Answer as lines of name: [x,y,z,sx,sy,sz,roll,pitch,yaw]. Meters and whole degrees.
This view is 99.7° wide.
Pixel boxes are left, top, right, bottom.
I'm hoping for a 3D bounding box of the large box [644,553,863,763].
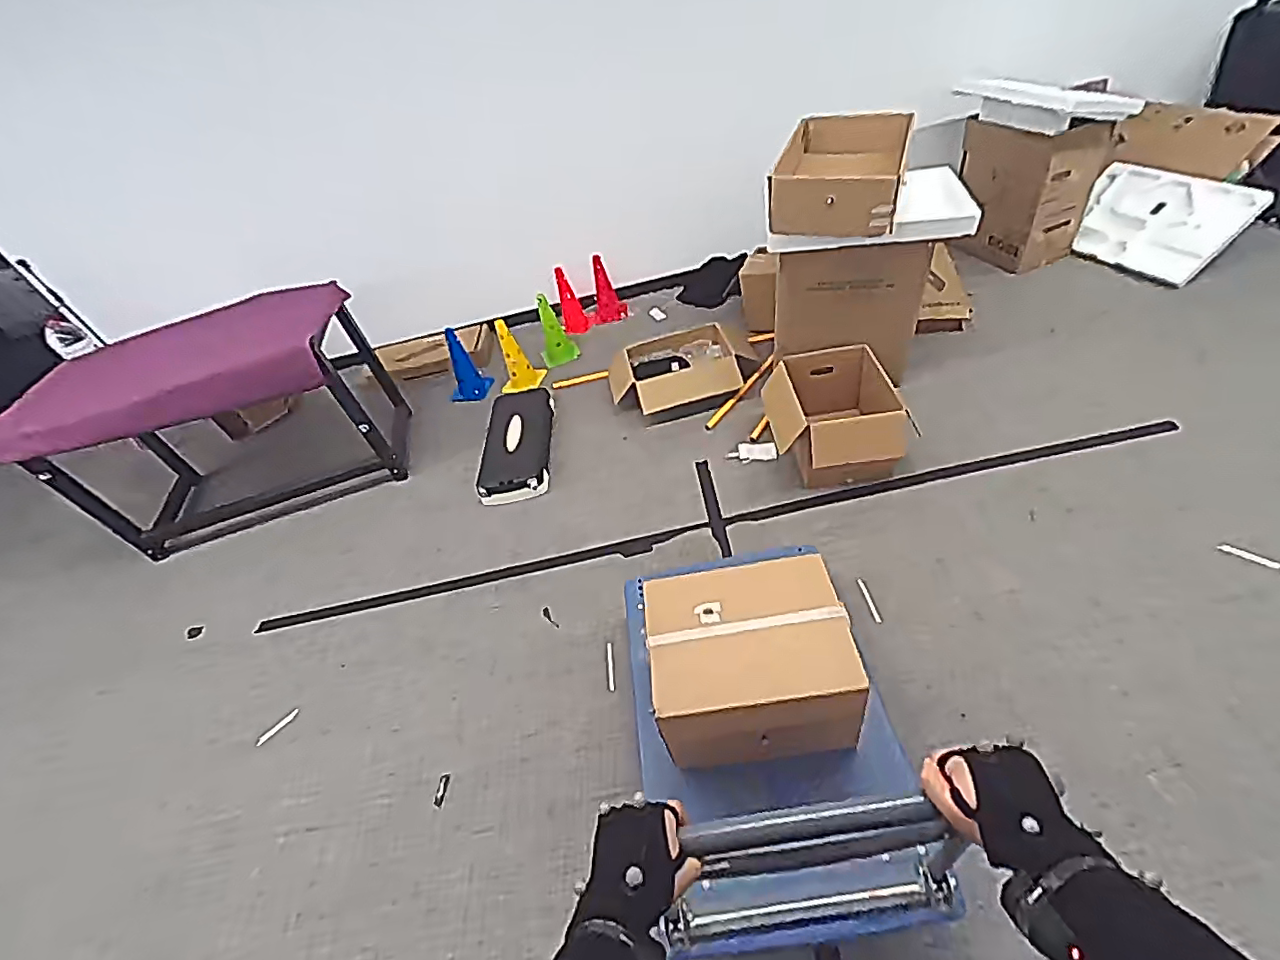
large box: [0.244,0.410,1.232,0.408,0.320,0.320,-11,43,6]
